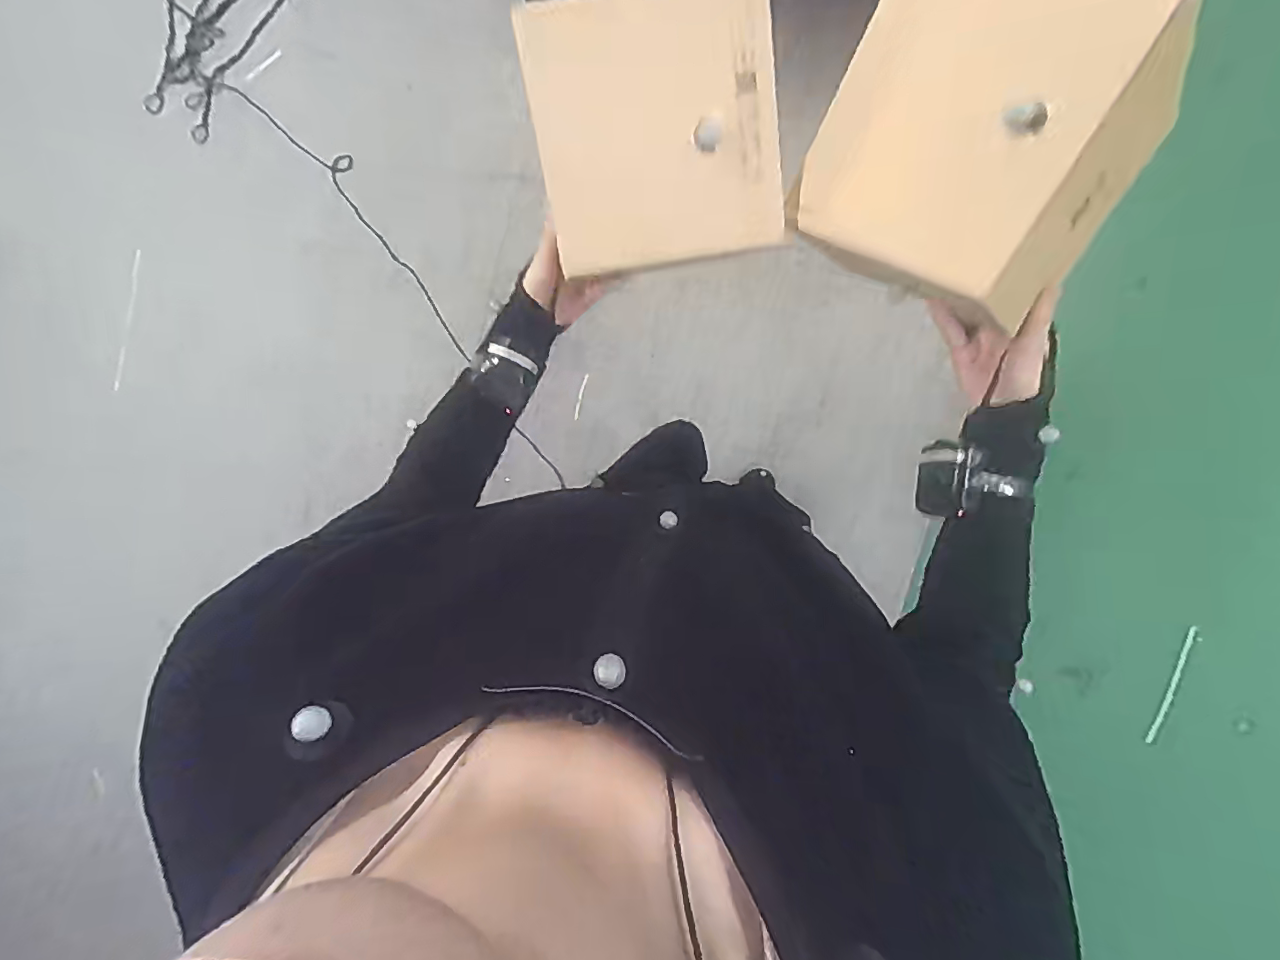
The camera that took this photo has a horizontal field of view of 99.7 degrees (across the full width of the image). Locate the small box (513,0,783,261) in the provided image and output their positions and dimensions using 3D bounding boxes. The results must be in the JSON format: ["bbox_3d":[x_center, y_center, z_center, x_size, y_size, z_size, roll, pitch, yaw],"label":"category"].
[{"bbox_3d":[0.004,-0.281,0.441,0.176,0.179,0.168,-12,110,-4],"label":"small box"}]

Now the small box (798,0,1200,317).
[{"bbox_3d":[0.242,-0.247,0.395,0.176,0.168,0.179,41,117,33],"label":"small box"}]

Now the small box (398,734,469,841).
[{"bbox_3d":[-0.615,0.868,1.547,0.168,0.176,0.179,24,96,7],"label":"small box"}]

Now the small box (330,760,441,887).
[{"bbox_3d":[-0.642,0.870,1.385,0.168,0.176,0.179,27,96,6],"label":"small box"}]
